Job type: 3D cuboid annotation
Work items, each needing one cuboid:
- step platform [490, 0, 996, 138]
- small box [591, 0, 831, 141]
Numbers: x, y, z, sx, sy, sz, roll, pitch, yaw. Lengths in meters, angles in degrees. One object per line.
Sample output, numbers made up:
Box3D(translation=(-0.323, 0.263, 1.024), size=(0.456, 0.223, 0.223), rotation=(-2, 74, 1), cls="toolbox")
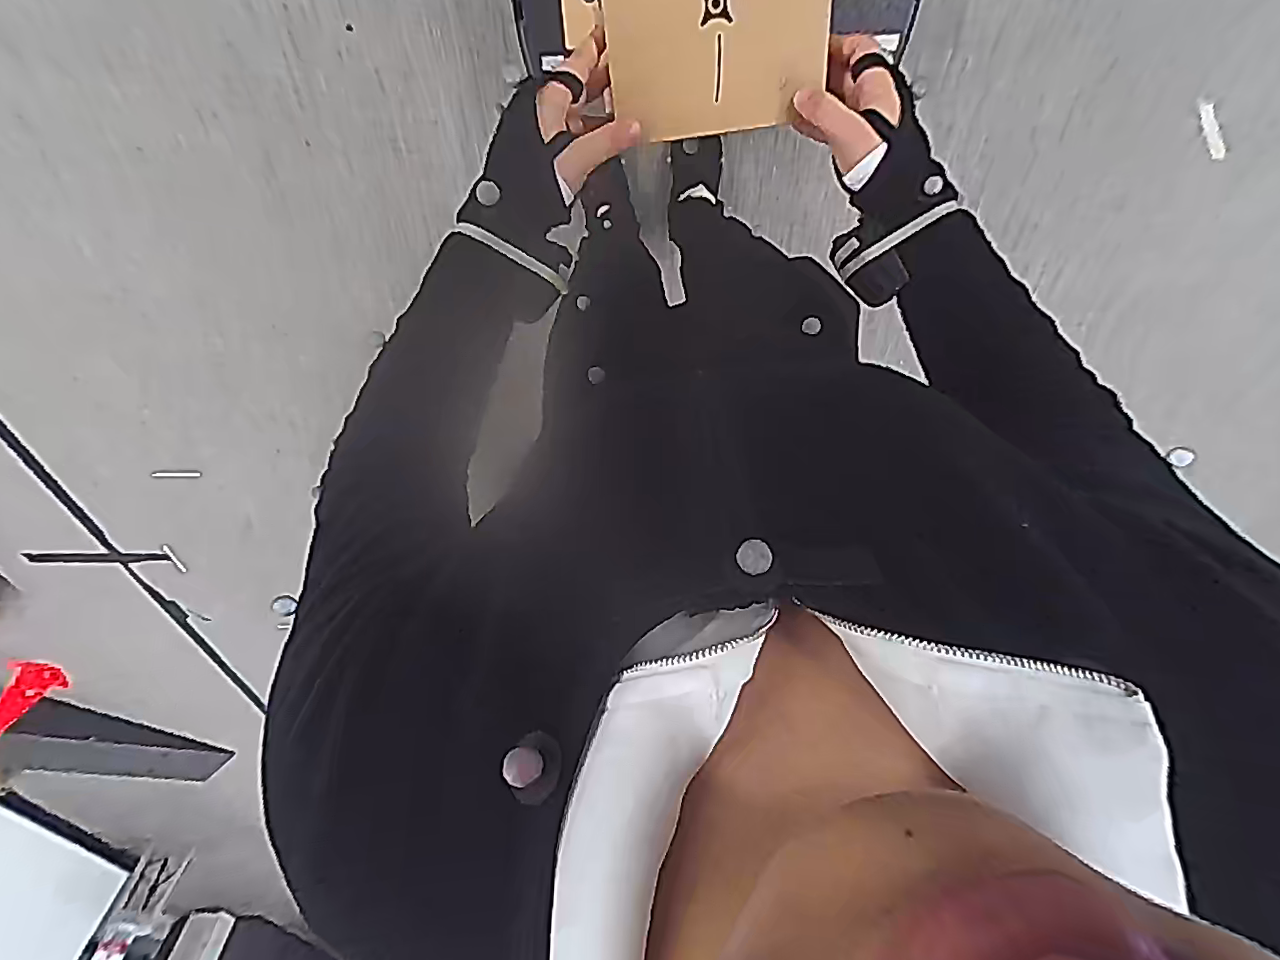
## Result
Box3D(translation=(0.135, -0.690, 0.784), size=(0.684, 0.204, 0.286), rotation=(-3, 129, 1), cls="step platform")
Box3D(translation=(0.046, -0.390, 0.442), size=(0.168, 0.176, 0.179), rotation=(-8, 125, -1), cls="small box")
